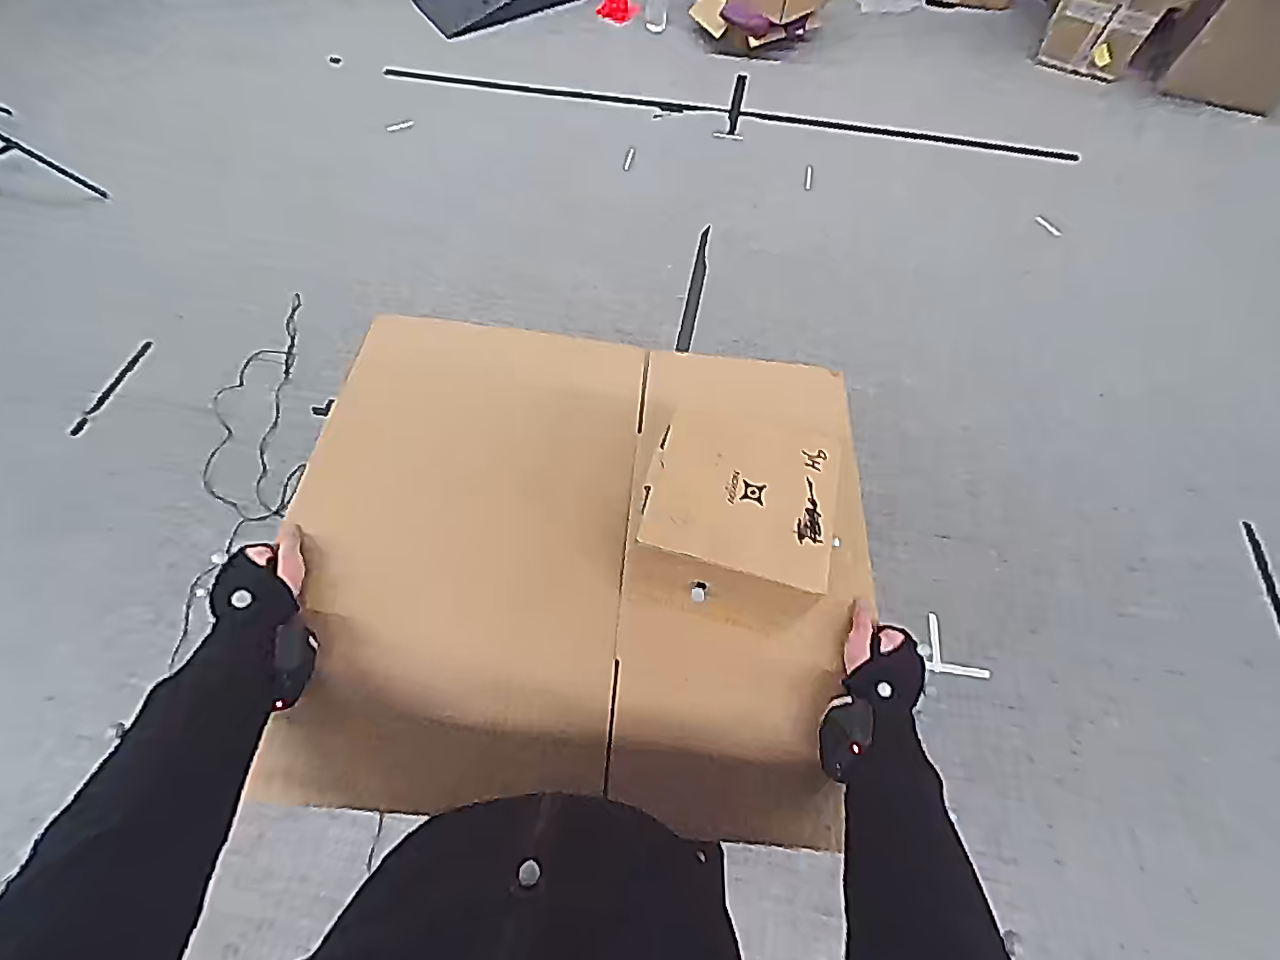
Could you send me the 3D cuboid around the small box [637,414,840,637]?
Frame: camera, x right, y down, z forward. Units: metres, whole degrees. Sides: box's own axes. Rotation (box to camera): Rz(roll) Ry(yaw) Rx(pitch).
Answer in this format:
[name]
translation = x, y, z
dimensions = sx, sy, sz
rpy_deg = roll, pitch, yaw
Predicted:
[small box]
translation = 0.098, 0.058, 0.593
dimensions = 0.179, 0.176, 0.168
rpy_deg = 14, 60, 6
